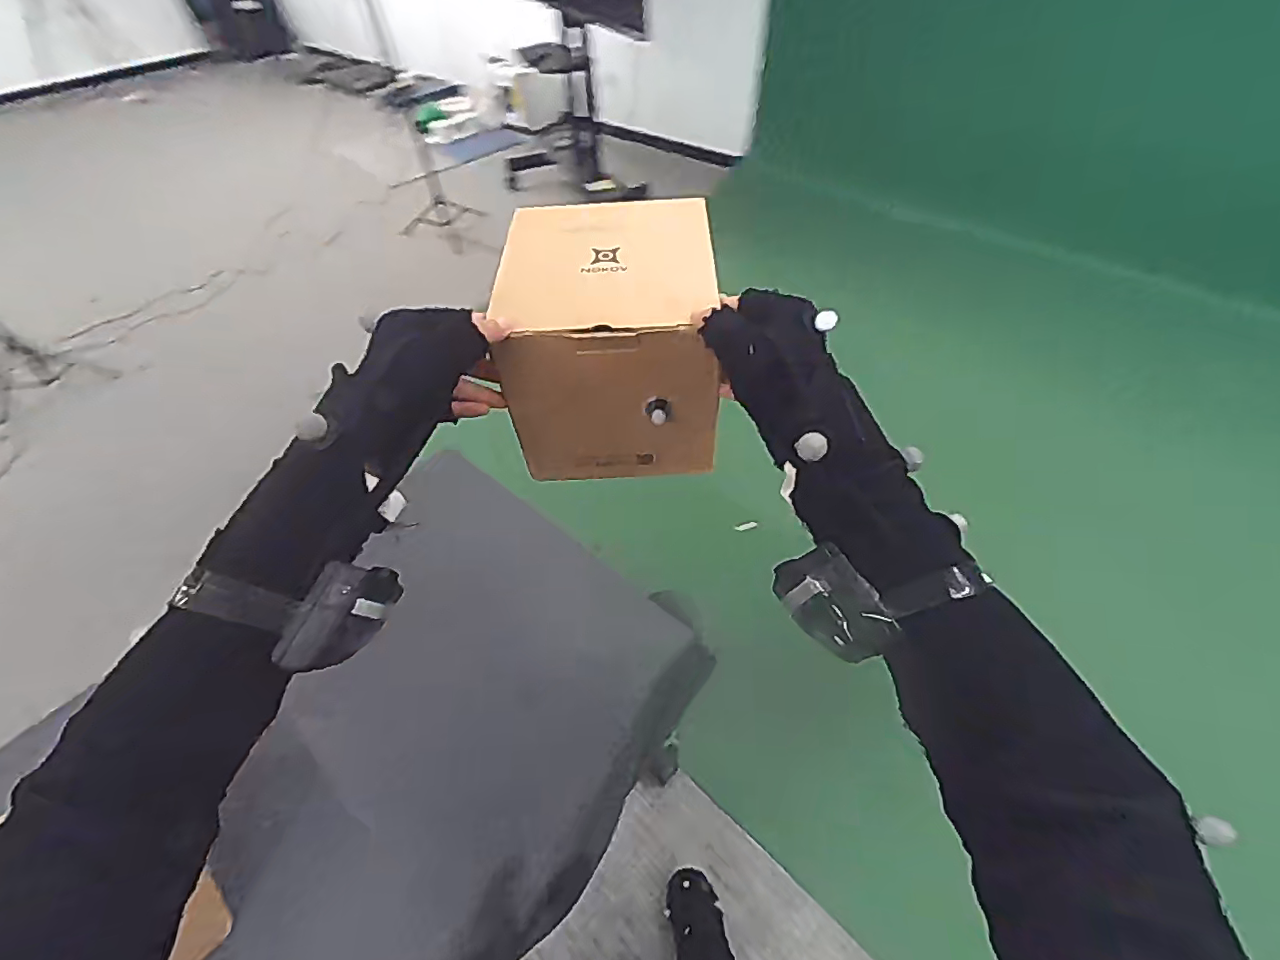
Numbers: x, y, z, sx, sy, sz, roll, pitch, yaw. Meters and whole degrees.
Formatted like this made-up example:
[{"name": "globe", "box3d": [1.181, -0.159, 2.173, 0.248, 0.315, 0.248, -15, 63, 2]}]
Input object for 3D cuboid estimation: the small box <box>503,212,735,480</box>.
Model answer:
[{"name": "small box", "box3d": [-0.009, -0.112, 0.483, 0.168, 0.176, 0.179, -1, 52, 2]}]
